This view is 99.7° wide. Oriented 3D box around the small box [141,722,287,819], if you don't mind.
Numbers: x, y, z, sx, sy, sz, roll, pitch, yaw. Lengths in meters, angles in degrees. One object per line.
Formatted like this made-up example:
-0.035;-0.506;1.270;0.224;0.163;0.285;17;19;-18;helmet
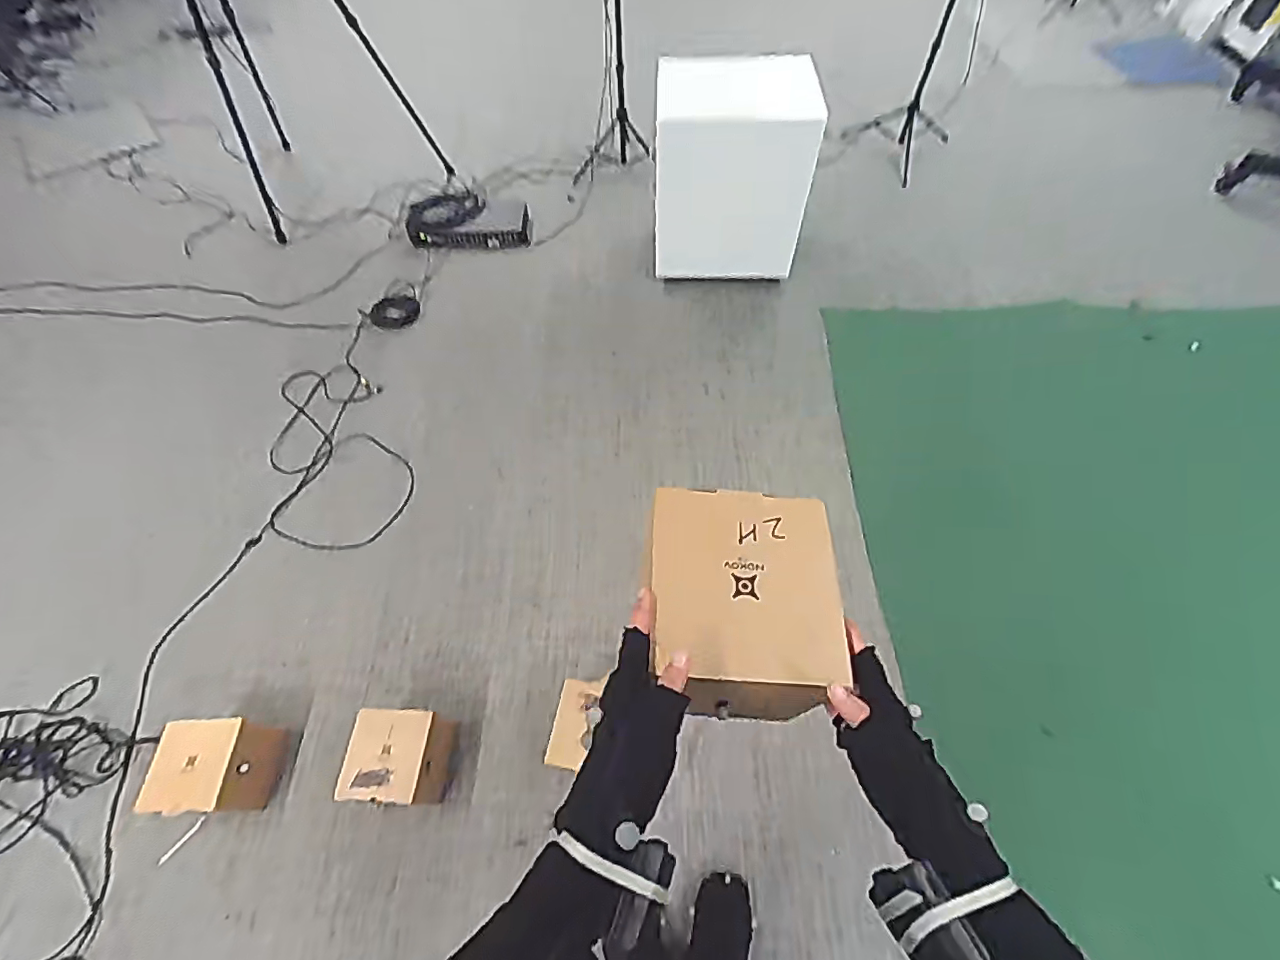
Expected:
-0.926;0.647;1.199;0.168;0.176;0.179;-3;58;1;small box

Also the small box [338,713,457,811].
-0.524;0.627;1.197;0.168;0.176;0.179;2;58;3;small box

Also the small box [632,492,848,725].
0.082;0.133;0.532;0.168;0.176;0.179;5;56;-3;small box
